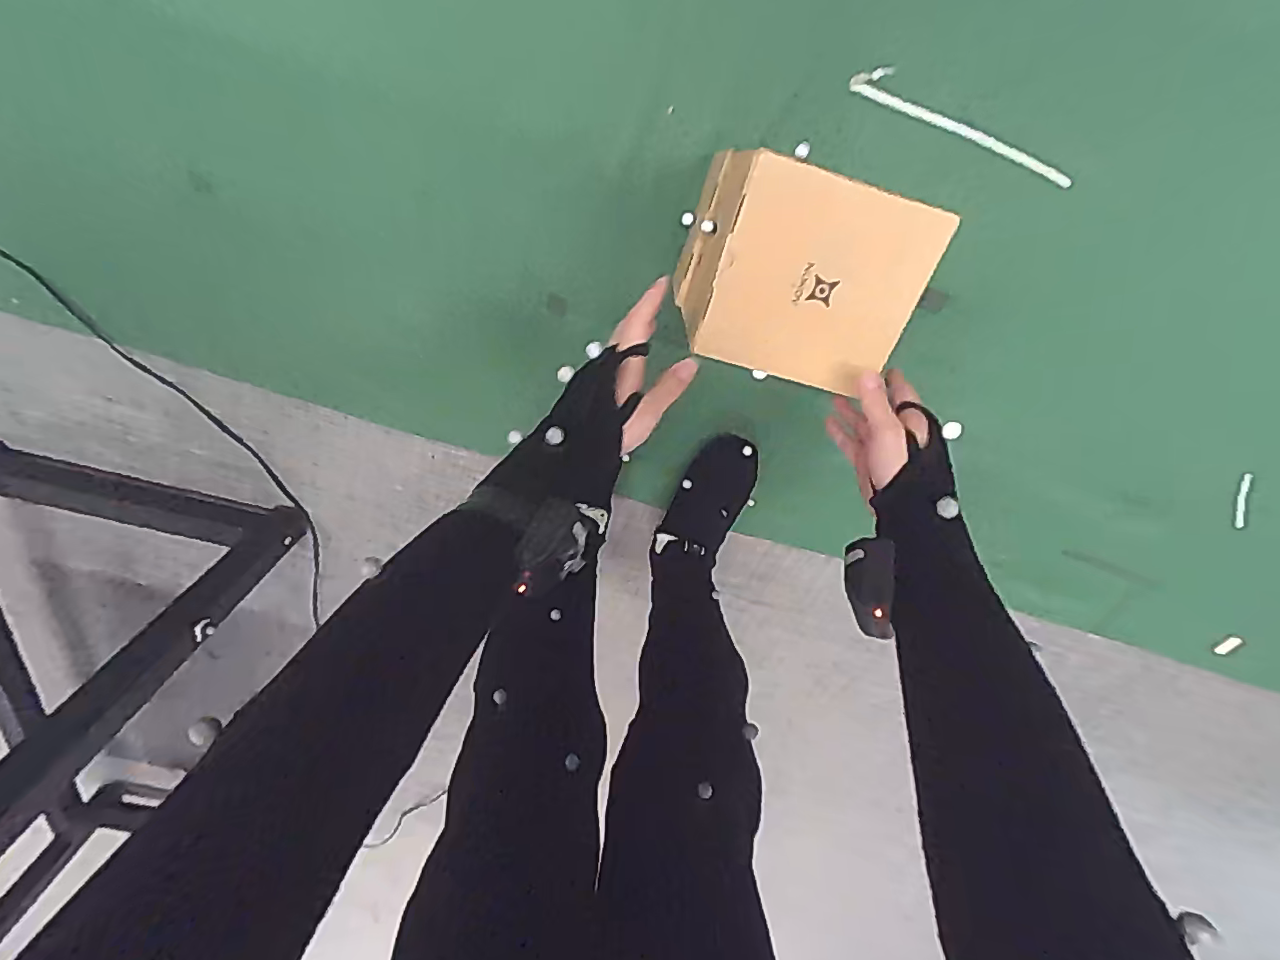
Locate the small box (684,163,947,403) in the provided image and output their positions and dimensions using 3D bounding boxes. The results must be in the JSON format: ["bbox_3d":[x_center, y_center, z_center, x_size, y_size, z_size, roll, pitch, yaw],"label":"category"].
[{"bbox_3d":[0.150,-0.201,0.537,0.179,0.176,0.168,15,119,-5],"label":"small box"}]

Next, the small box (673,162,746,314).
[{"bbox_3d":[0.149,-0.282,0.679,0.179,0.176,0.168,17,119,-7],"label":"small box"}]
